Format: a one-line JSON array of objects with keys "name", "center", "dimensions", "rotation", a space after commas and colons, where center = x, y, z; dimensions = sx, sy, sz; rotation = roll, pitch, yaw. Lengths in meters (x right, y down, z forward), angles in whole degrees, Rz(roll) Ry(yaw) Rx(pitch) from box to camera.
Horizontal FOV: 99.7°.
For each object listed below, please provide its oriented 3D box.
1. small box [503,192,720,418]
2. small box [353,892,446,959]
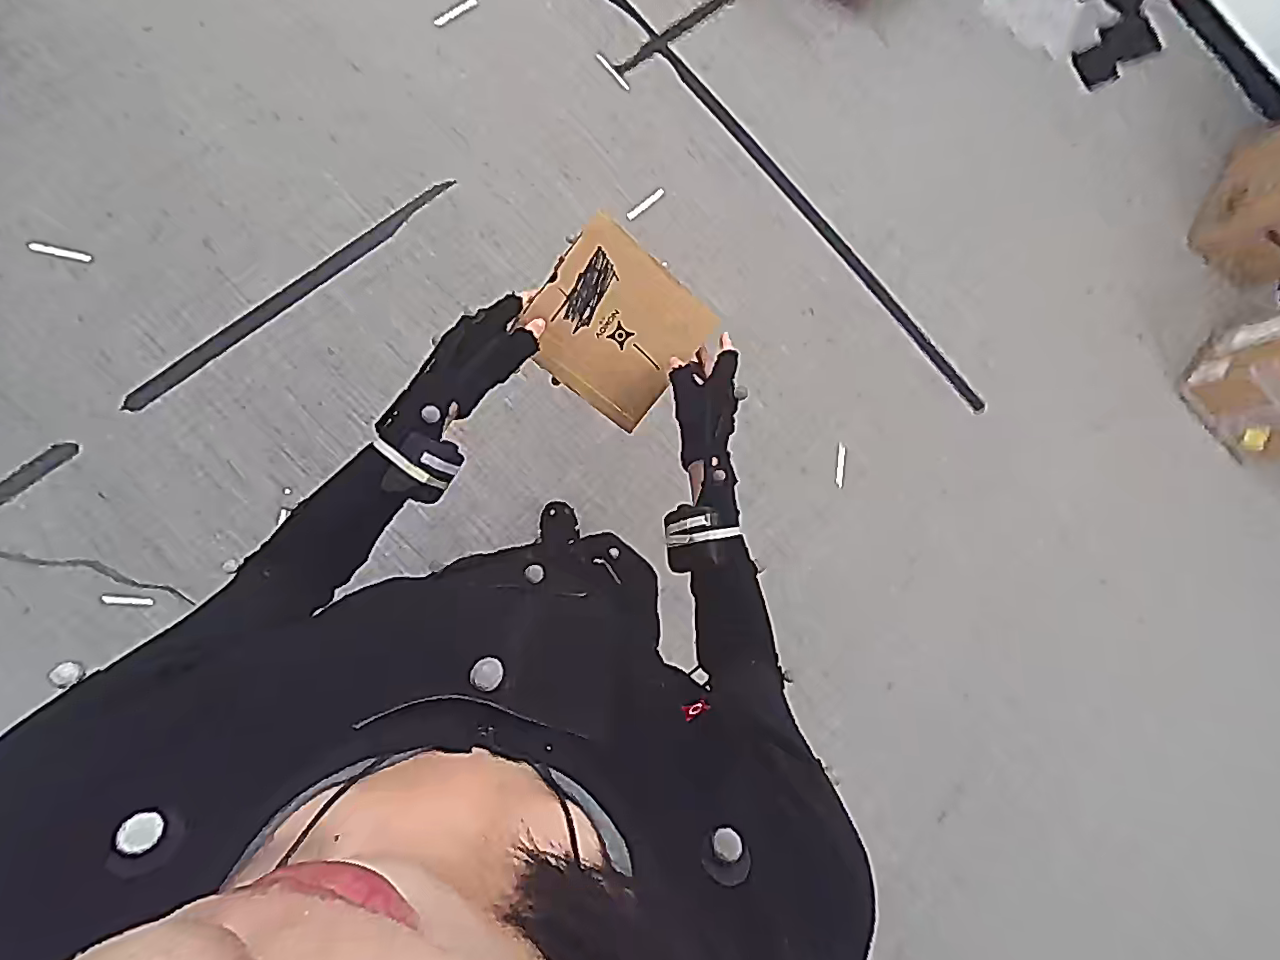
[{"name": "small box", "center": [-0.040, -0.201, 0.647], "dimensions": [0.179, 0.176, 0.168], "rotation": [35, 101, -18]}, {"name": "small box", "center": [-0.572, 1.118, 1.250], "dimensions": [0.168, 0.176, 0.179], "rotation": [30, 78, -6]}]
